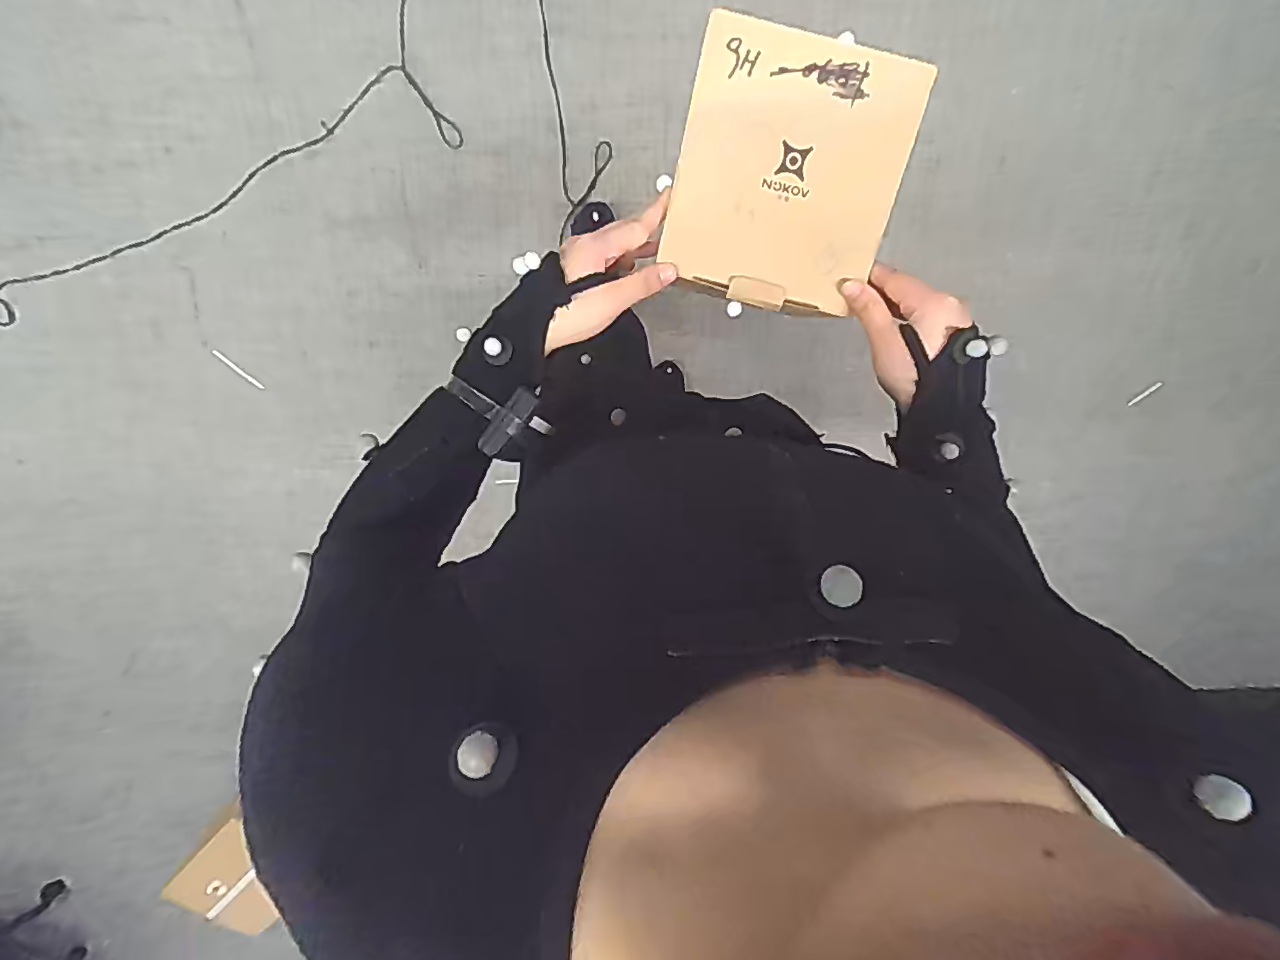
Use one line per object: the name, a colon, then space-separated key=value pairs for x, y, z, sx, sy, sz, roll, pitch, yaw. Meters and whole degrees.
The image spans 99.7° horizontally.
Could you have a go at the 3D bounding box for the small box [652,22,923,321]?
small box: x=0.110 y=-0.252 z=0.485 sx=0.168 sy=0.176 sz=0.179 roll=12 pitch=109 yaw=-2
